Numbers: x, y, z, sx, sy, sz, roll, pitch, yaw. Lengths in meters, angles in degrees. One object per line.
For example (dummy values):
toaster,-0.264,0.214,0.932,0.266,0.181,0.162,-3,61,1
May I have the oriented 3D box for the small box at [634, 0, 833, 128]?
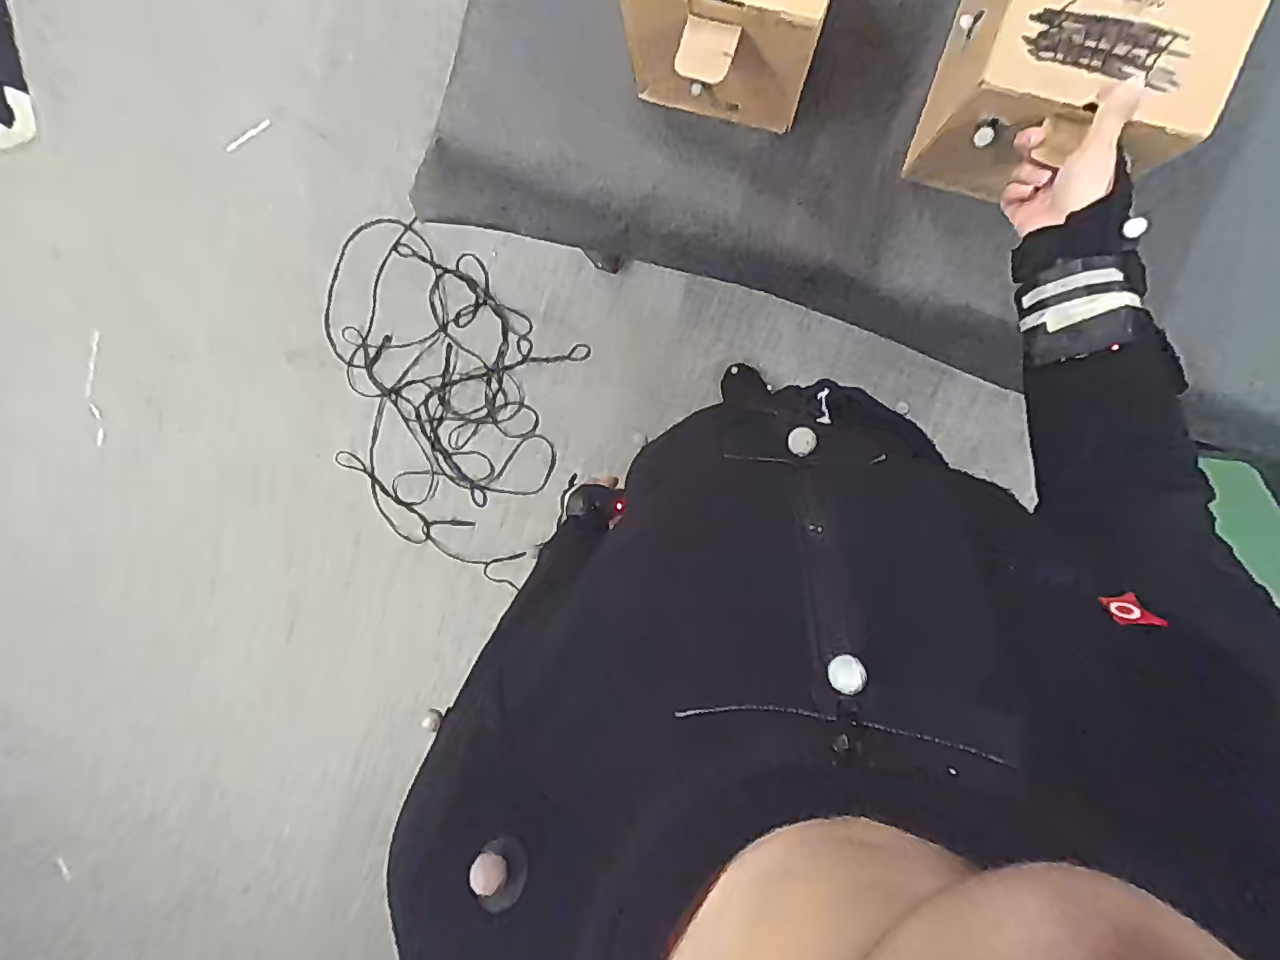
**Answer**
small box,0.093,-0.459,0.476,0.168,0.176,0.179,17,99,3
